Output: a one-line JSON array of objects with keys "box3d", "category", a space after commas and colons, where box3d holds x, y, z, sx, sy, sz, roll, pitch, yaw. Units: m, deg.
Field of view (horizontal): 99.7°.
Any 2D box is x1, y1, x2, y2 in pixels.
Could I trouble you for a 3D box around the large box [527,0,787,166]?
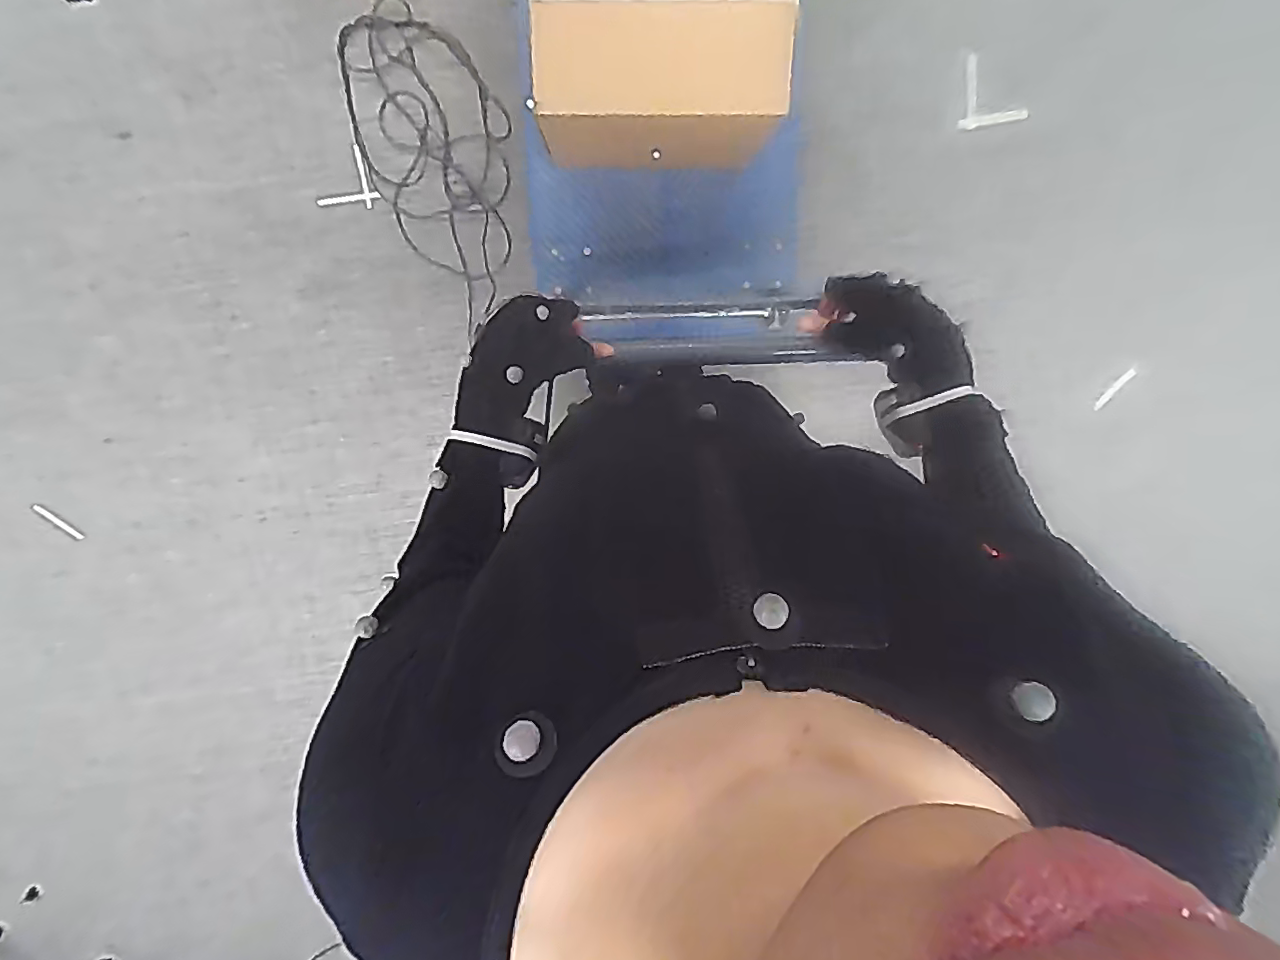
[{"box3d": [0.024, -0.769, 0.959, 0.408, 0.320, 0.320, -1, 106, -1], "category": "large box"}]
